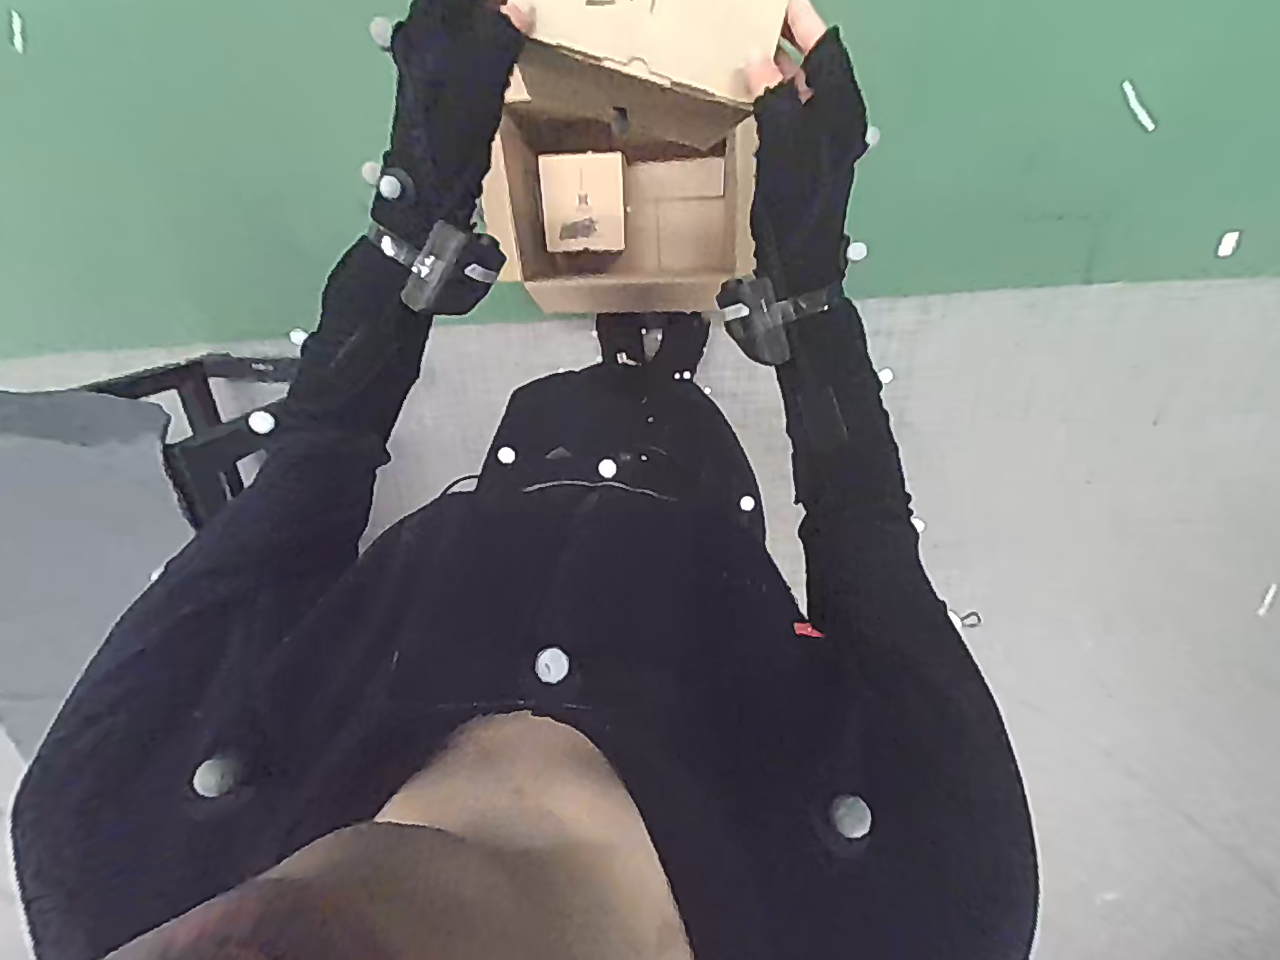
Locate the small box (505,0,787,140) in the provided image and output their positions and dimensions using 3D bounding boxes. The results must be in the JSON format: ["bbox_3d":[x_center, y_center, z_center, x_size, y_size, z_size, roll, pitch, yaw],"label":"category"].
[{"bbox_3d":[0.009,-0.364,0.373,0.168,0.176,0.179,10,114,-10],"label":"small box"}]
